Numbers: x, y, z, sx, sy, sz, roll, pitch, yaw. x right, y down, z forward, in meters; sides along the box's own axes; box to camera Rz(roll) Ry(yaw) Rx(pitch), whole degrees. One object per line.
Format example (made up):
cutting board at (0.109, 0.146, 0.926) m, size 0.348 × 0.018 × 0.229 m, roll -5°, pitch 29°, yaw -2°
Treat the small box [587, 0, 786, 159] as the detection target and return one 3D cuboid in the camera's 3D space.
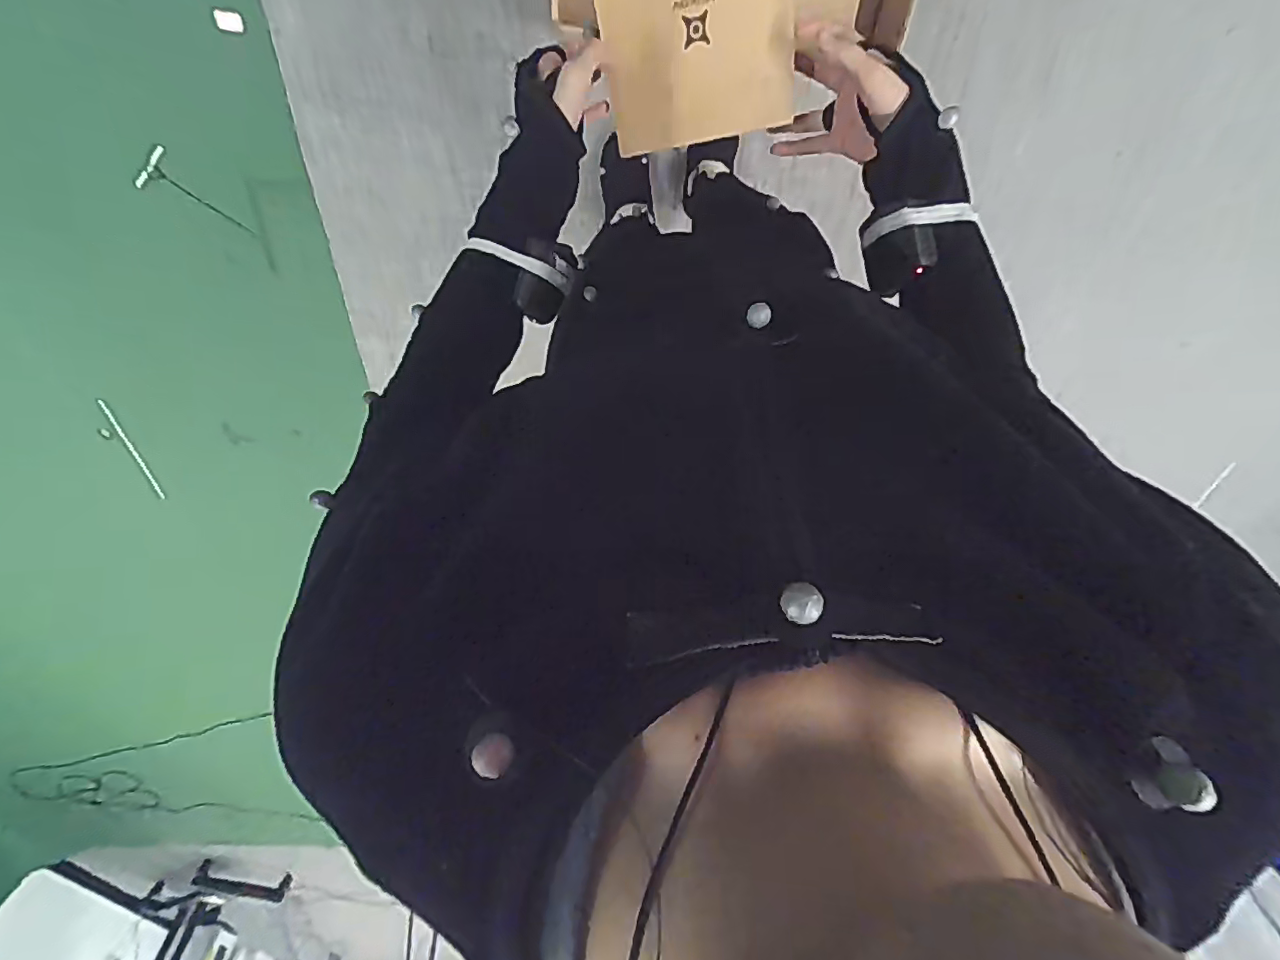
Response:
small box at (0.046, -0.434, 0.521) m, size 0.168 × 0.176 × 0.179 m, roll -7°, pitch 127°, yaw 9°
